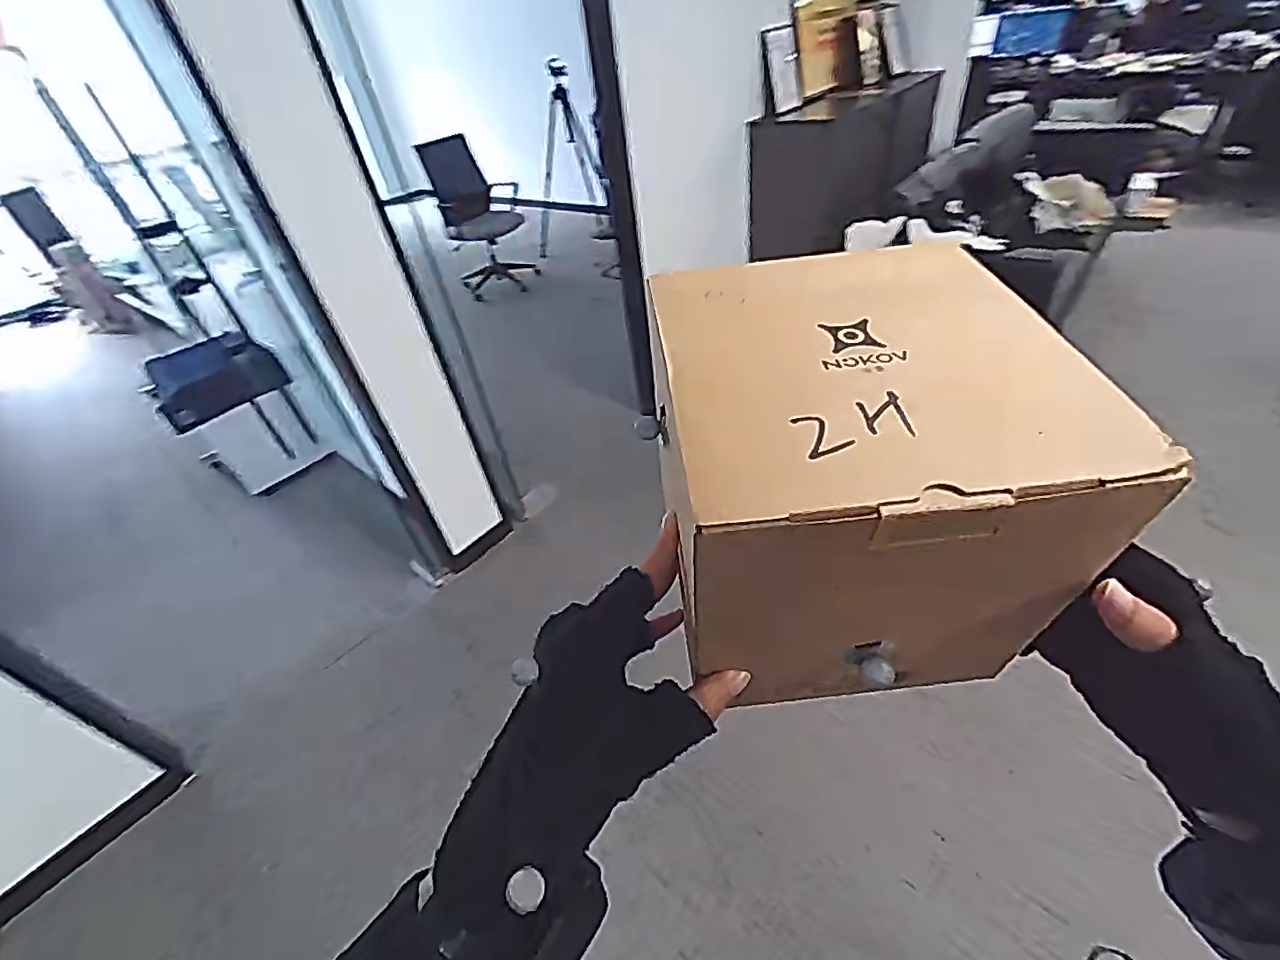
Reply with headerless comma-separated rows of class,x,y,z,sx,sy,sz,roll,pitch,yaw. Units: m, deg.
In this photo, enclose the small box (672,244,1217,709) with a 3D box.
small box,0.107,0.000,0.291,0.168,0.176,0.179,-7,48,1
